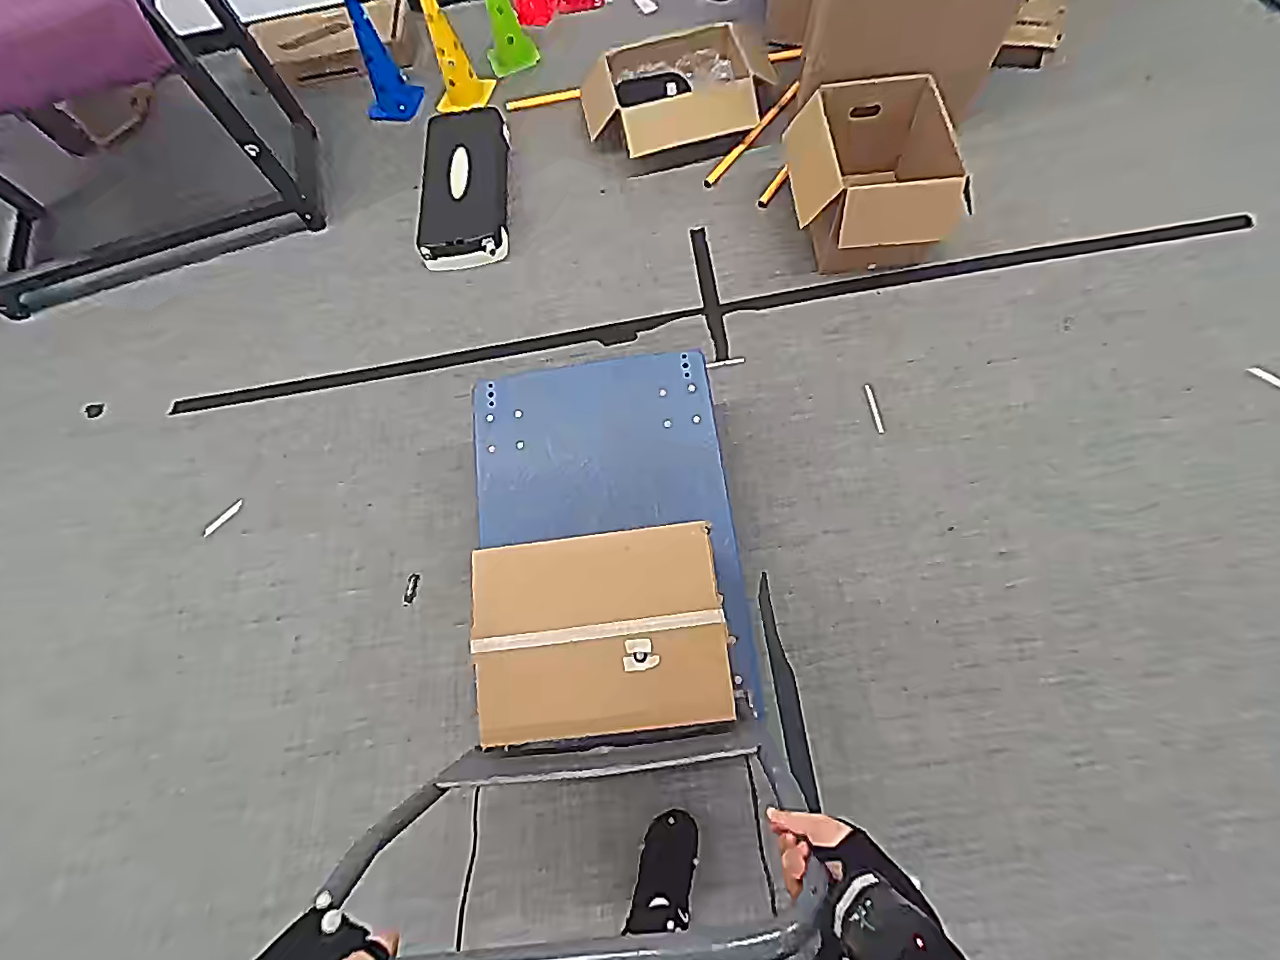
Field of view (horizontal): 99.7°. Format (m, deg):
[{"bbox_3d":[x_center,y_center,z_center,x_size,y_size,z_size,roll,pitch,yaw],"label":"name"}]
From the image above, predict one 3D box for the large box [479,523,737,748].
[{"bbox_3d":[-0.053,0.286,1.026,0.408,0.320,0.320,-8,75,2],"label":"large box"}]
